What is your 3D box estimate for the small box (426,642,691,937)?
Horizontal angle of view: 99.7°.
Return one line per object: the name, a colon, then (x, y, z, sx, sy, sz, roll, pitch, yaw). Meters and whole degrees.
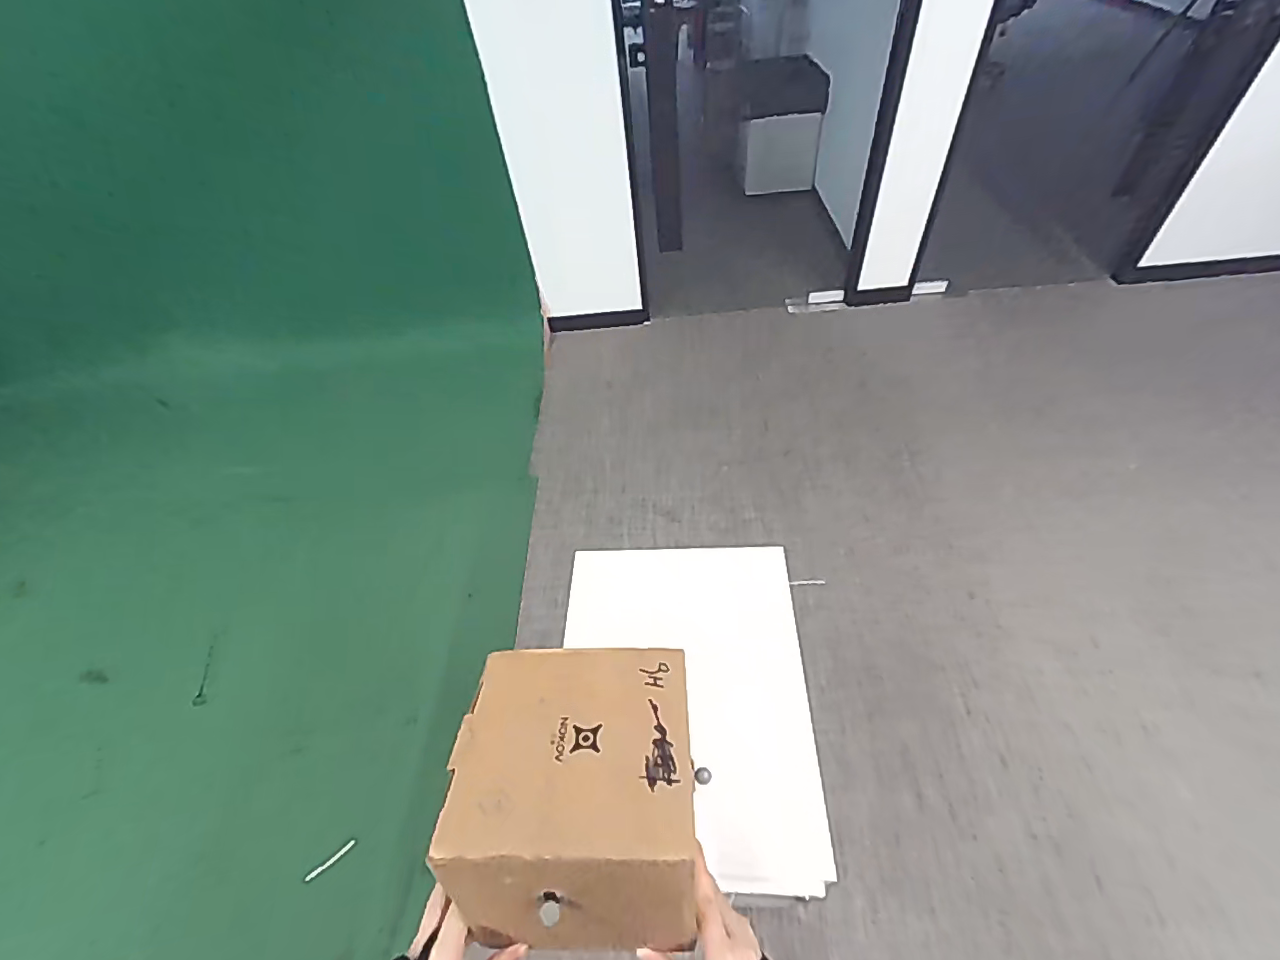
small box: (-0.049, 0.260, 0.462, 0.179, 0.176, 0.168, -2, 34, 3)
